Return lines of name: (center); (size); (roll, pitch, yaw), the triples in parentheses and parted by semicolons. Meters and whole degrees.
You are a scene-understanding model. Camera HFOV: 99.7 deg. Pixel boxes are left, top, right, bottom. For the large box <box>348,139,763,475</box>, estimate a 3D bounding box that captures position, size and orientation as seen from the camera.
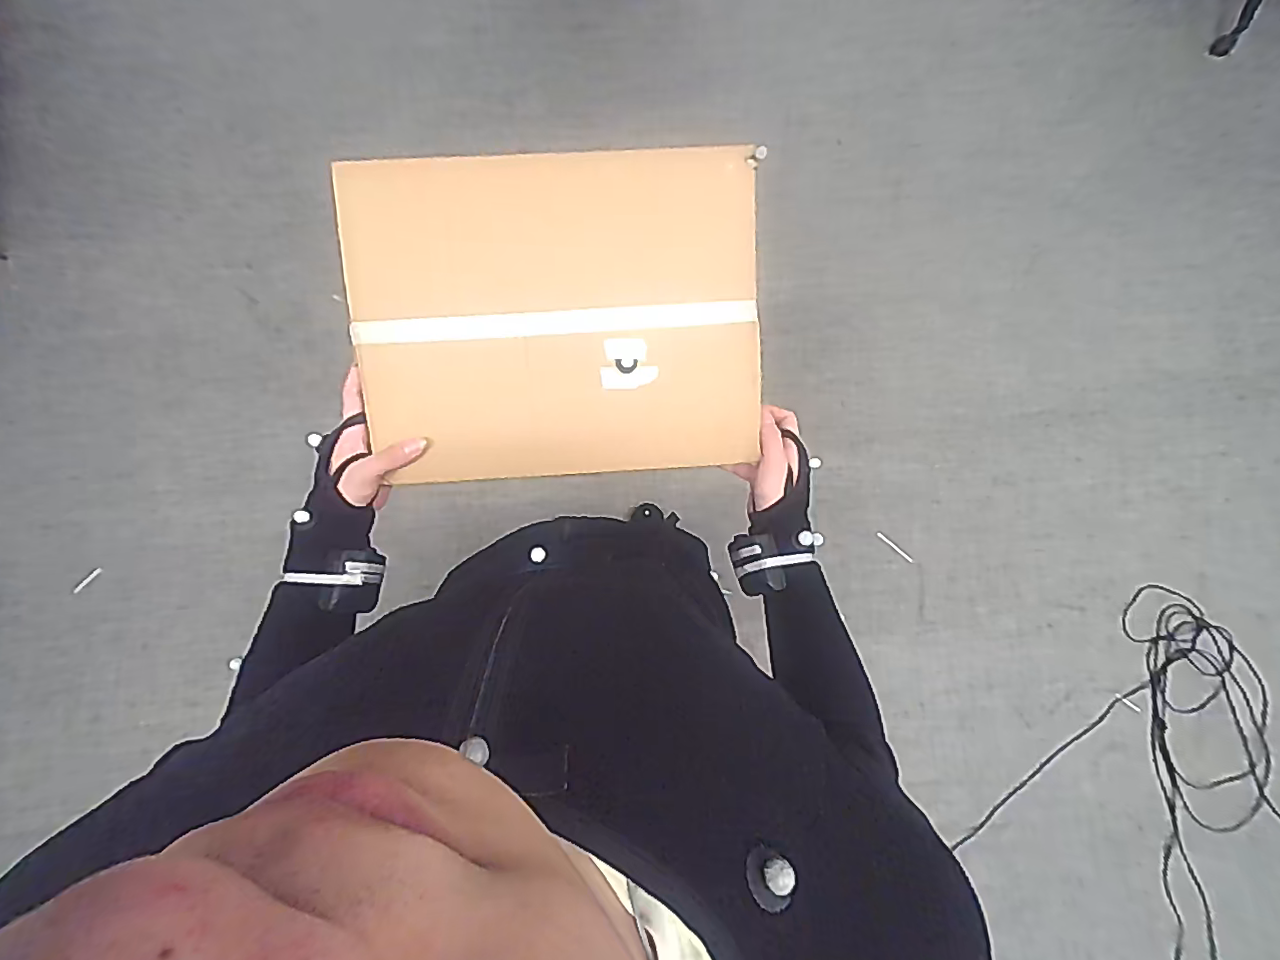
large box: (-0.083, -0.196, 0.698); (0.408, 0.320, 0.320); (-4, 101, -2)
